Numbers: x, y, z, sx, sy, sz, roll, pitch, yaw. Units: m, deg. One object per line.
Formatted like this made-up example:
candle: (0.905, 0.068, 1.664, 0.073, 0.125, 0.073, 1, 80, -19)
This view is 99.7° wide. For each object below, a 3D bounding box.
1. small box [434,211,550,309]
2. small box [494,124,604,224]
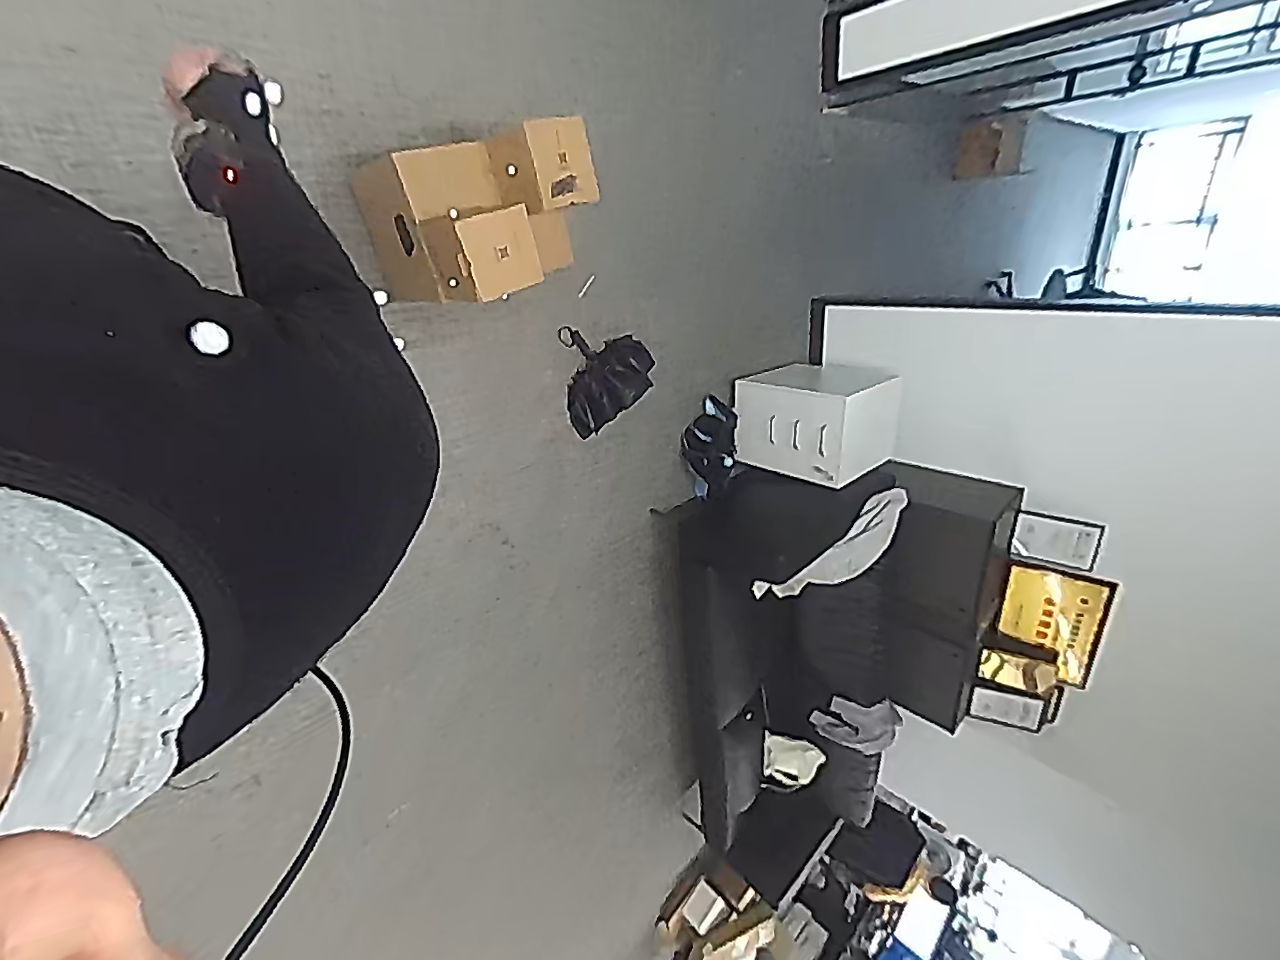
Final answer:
small box: (-0.339, -0.495, 1.218, 0.179, 0.176, 0.168, -36, 129, -32)
small box: (-0.215, -0.707, 1.267, 0.168, 0.176, 0.179, -31, 120, -33)
